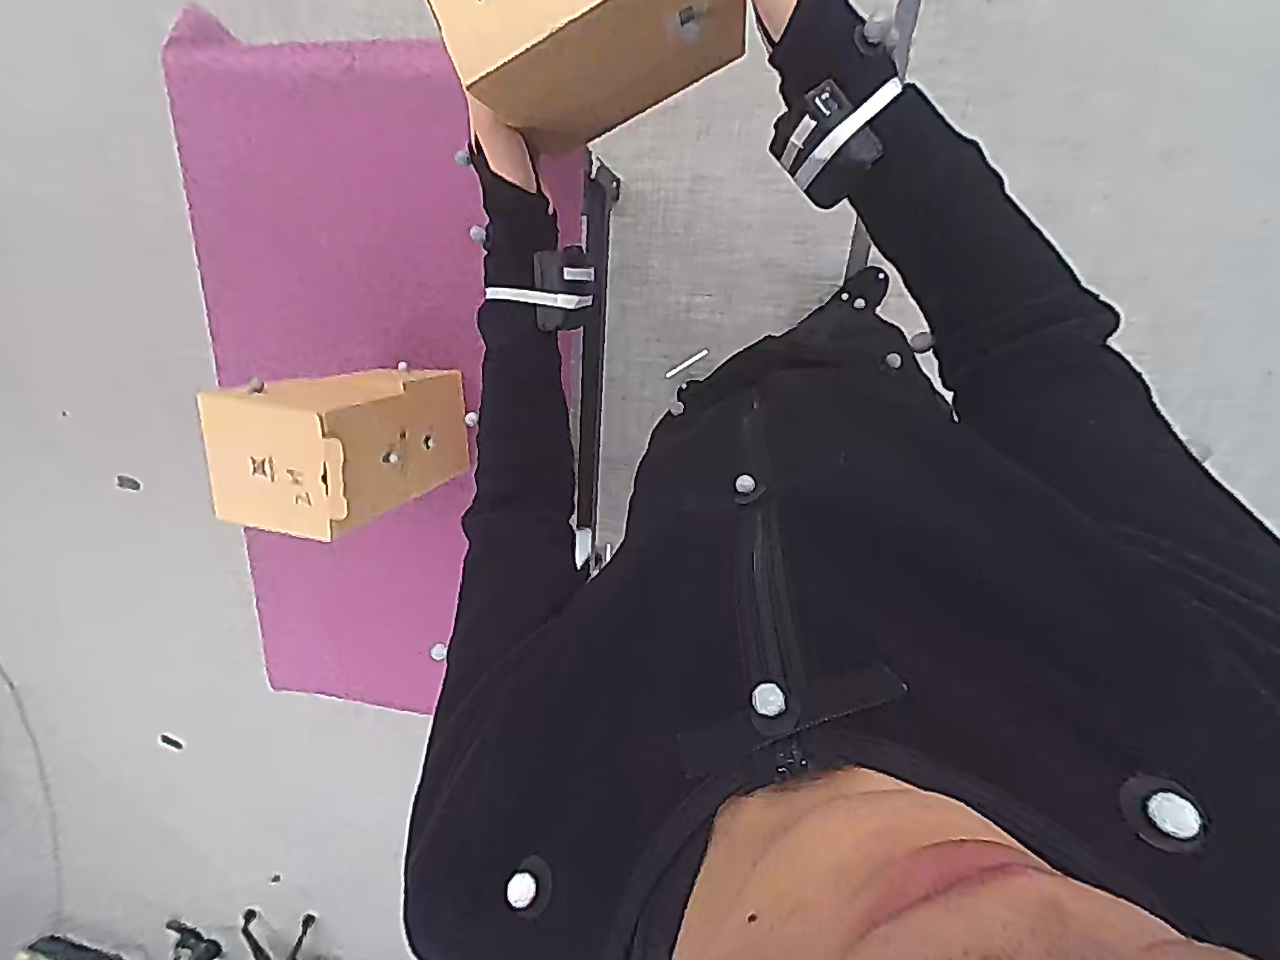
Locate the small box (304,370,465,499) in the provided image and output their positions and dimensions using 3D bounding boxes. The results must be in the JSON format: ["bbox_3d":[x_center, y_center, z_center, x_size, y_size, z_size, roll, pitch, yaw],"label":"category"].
[{"bbox_3d":[-0.403,-0.081,0.883,0.168,0.176,0.179,3,107,11],"label":"small box"}]

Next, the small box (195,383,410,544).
[{"bbox_3d":[-0.439,-0.034,0.729,0.179,0.176,0.168,9,109,9],"label":"small box"}]
